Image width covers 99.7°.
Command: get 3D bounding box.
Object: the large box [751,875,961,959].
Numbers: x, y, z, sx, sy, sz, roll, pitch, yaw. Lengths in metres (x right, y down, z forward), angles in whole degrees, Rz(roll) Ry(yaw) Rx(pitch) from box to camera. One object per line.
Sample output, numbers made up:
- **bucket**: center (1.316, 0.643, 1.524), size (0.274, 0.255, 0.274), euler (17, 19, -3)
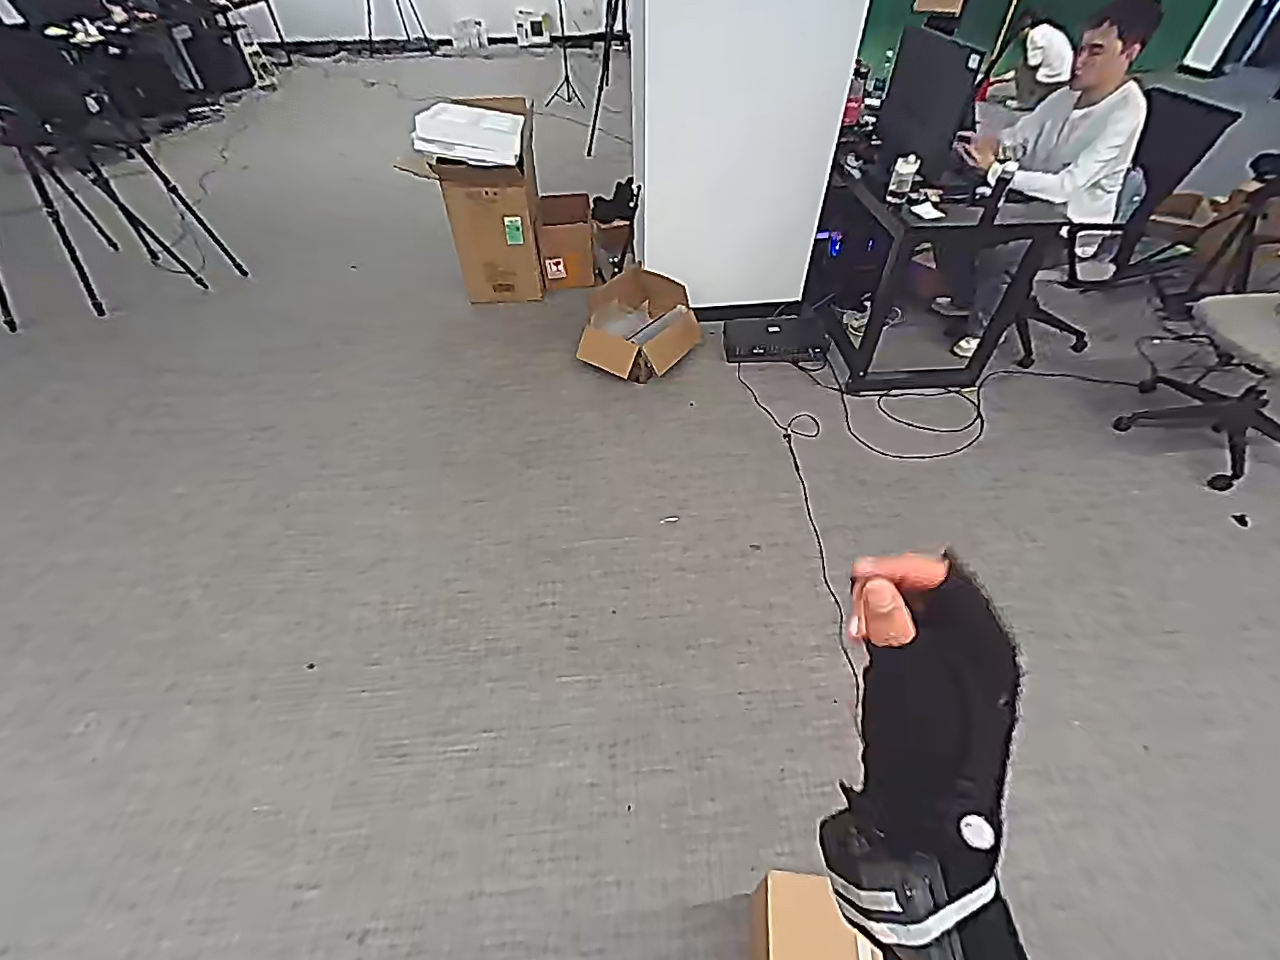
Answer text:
- **large box**: center (0.371, 0.971, 0.946), size (0.320, 0.320, 0.408), euler (4, 48, 7)
